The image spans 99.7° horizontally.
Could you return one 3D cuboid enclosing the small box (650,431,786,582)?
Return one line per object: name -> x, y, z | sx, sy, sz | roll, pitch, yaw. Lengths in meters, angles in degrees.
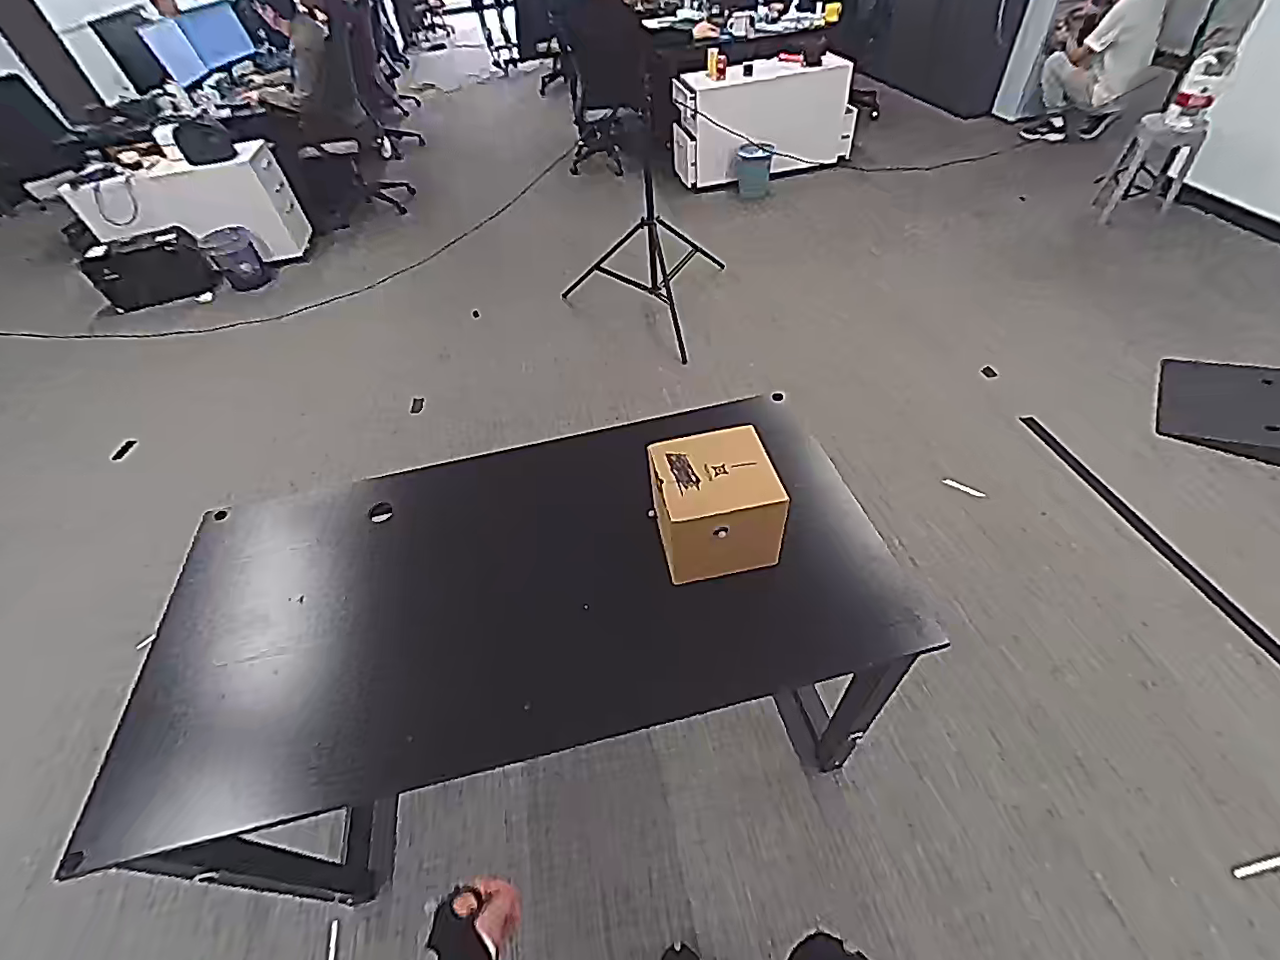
small box -> 0.121, 0.048, 0.884 | 0.179, 0.176, 0.168 | -11, 48, -4
